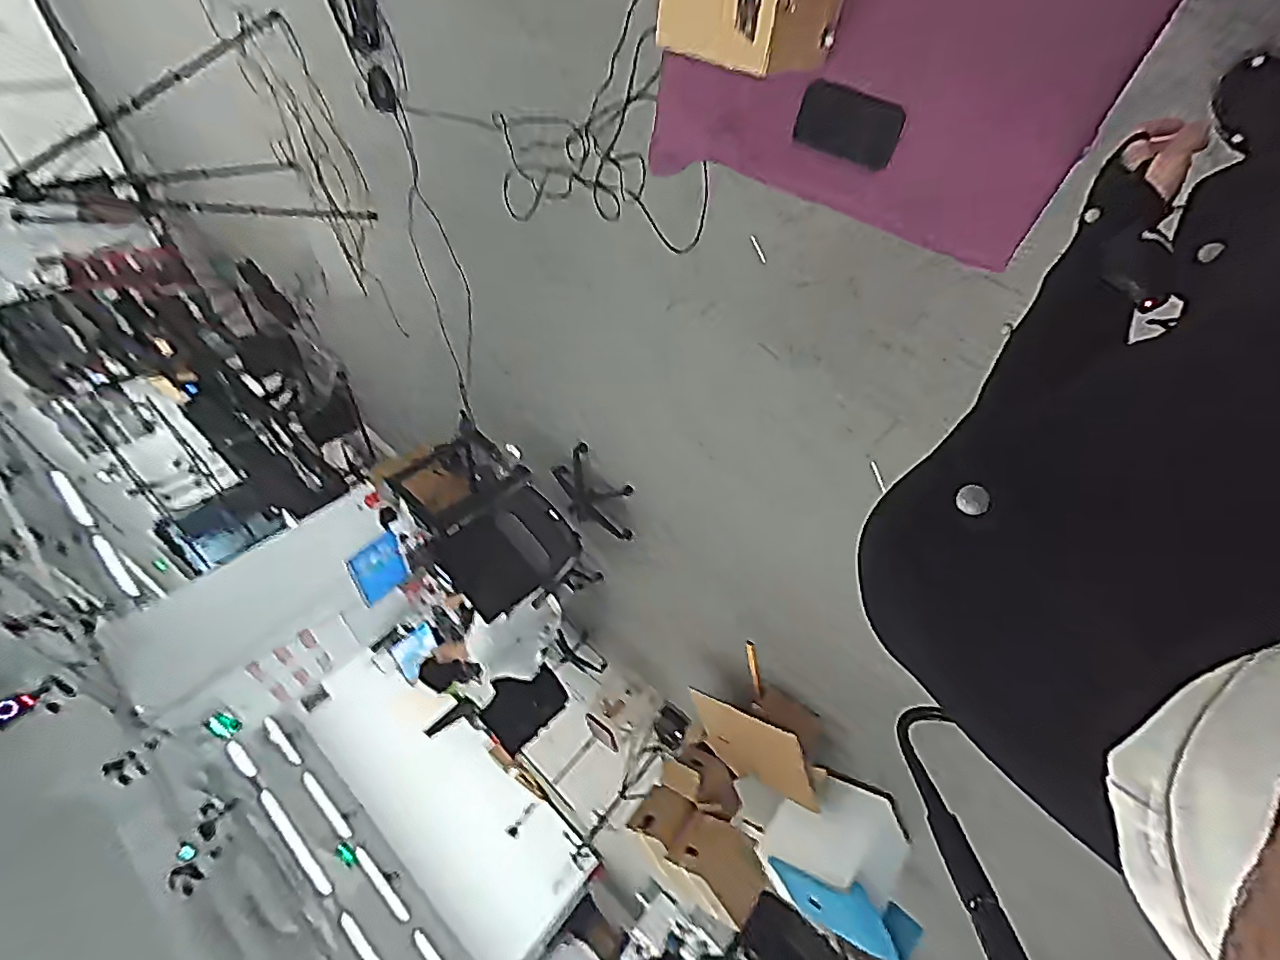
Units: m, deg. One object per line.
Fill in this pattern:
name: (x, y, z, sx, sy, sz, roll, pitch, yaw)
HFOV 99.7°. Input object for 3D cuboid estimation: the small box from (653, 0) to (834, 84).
small box: (0.142, -0.628, 0.683, 0.179, 0.176, 0.168, 36, 142, 23)
